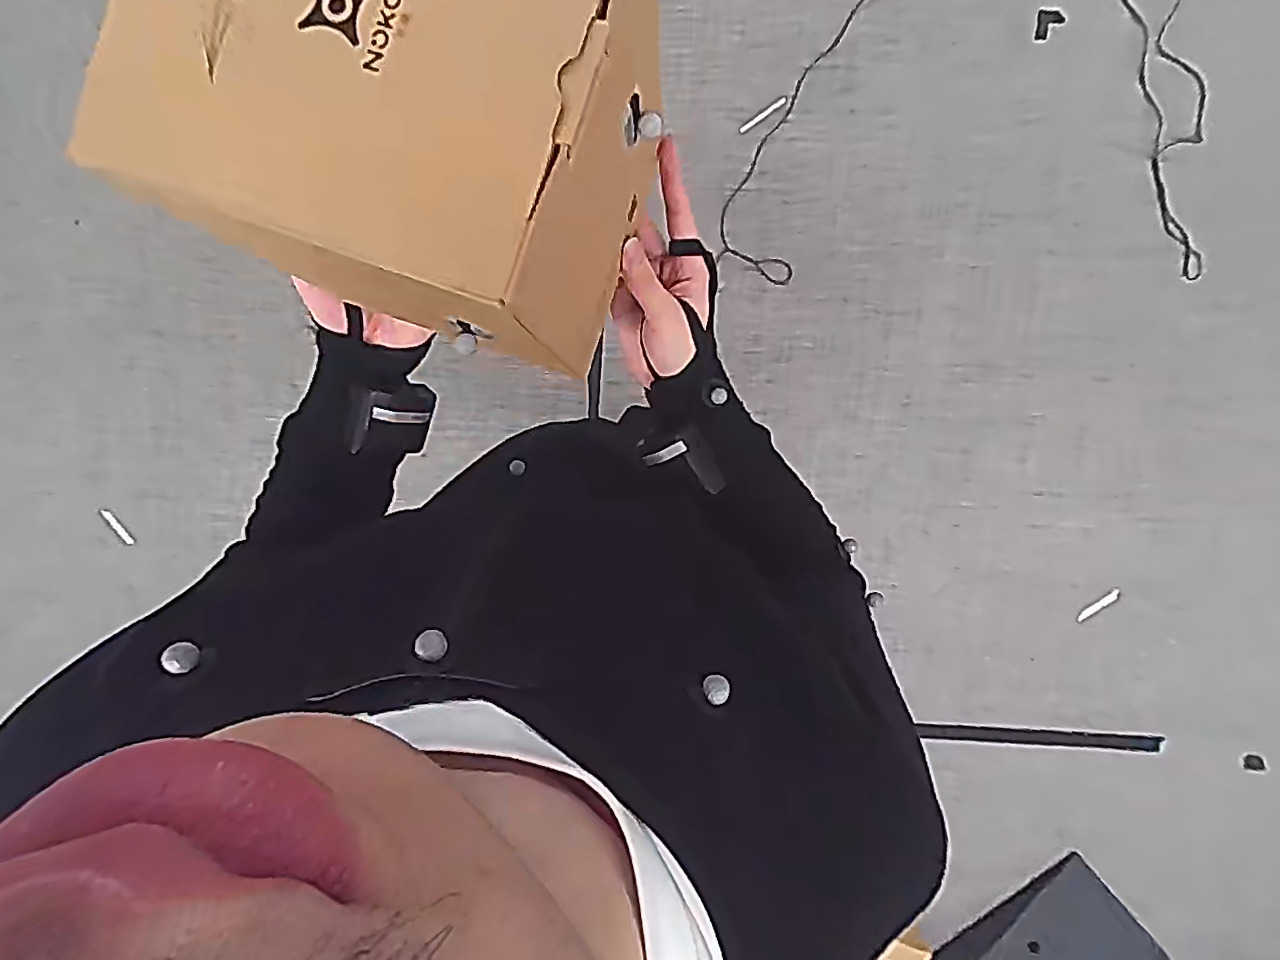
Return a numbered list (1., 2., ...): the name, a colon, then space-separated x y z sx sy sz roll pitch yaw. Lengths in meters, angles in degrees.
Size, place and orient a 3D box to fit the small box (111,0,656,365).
1. small box: -0.095 -0.169 0.283 0.179 0.176 0.168 18 93 3
